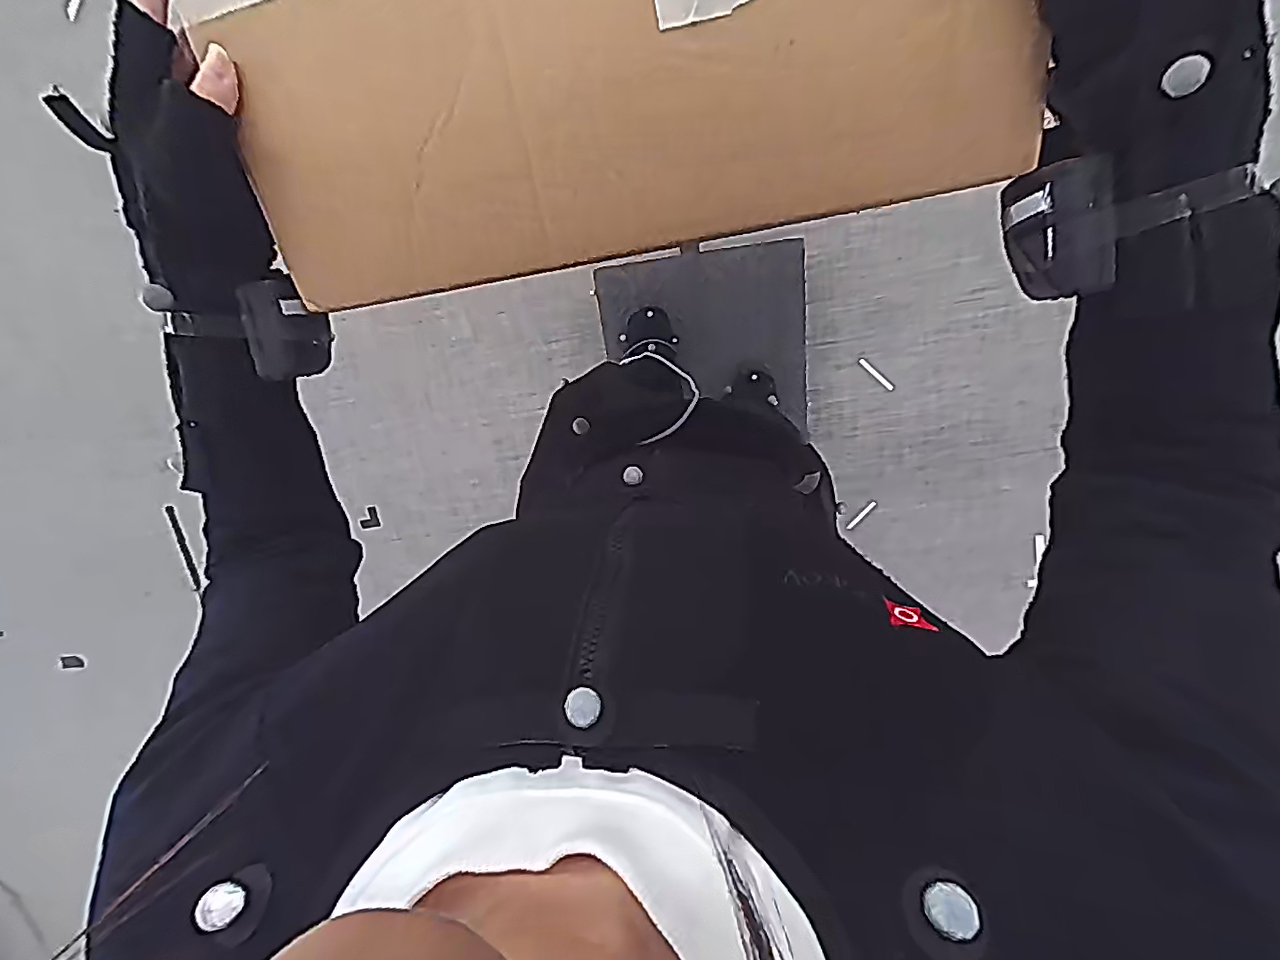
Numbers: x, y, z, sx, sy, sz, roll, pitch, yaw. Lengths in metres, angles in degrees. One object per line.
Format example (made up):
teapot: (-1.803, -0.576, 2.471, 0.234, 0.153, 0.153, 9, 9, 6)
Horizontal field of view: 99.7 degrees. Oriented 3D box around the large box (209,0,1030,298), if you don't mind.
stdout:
large box: (-0.016, -0.339, 0.378, 0.408, 0.320, 0.320, -6, 115, 12)
